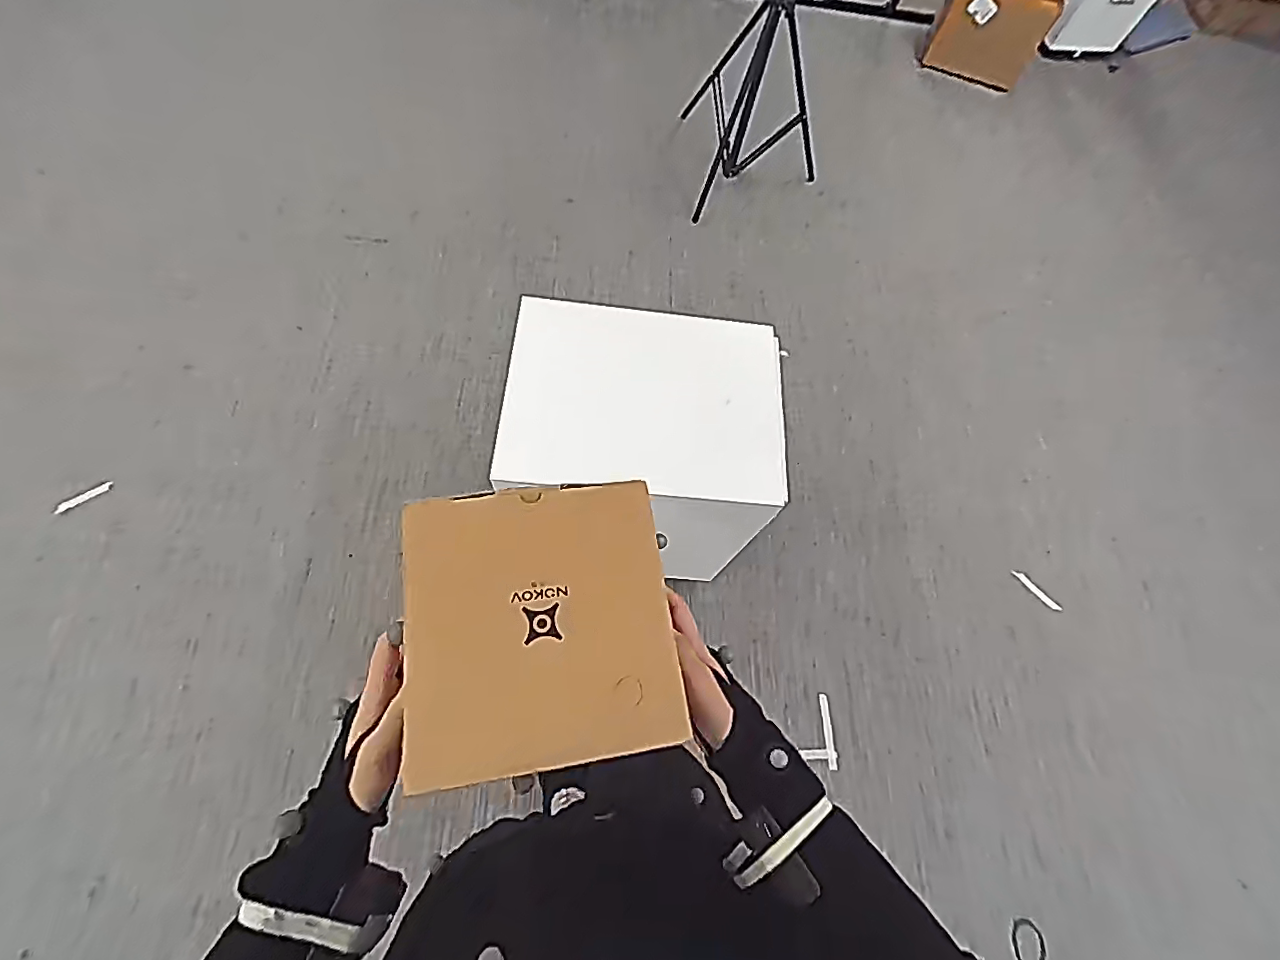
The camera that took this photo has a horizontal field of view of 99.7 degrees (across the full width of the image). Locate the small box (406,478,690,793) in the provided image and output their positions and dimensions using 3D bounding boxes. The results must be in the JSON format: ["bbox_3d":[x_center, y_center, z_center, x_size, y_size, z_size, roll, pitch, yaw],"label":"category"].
[{"bbox_3d":[-0.073,0.117,0.414,0.168,0.176,0.179,-6,66,-12],"label":"small box"}]
